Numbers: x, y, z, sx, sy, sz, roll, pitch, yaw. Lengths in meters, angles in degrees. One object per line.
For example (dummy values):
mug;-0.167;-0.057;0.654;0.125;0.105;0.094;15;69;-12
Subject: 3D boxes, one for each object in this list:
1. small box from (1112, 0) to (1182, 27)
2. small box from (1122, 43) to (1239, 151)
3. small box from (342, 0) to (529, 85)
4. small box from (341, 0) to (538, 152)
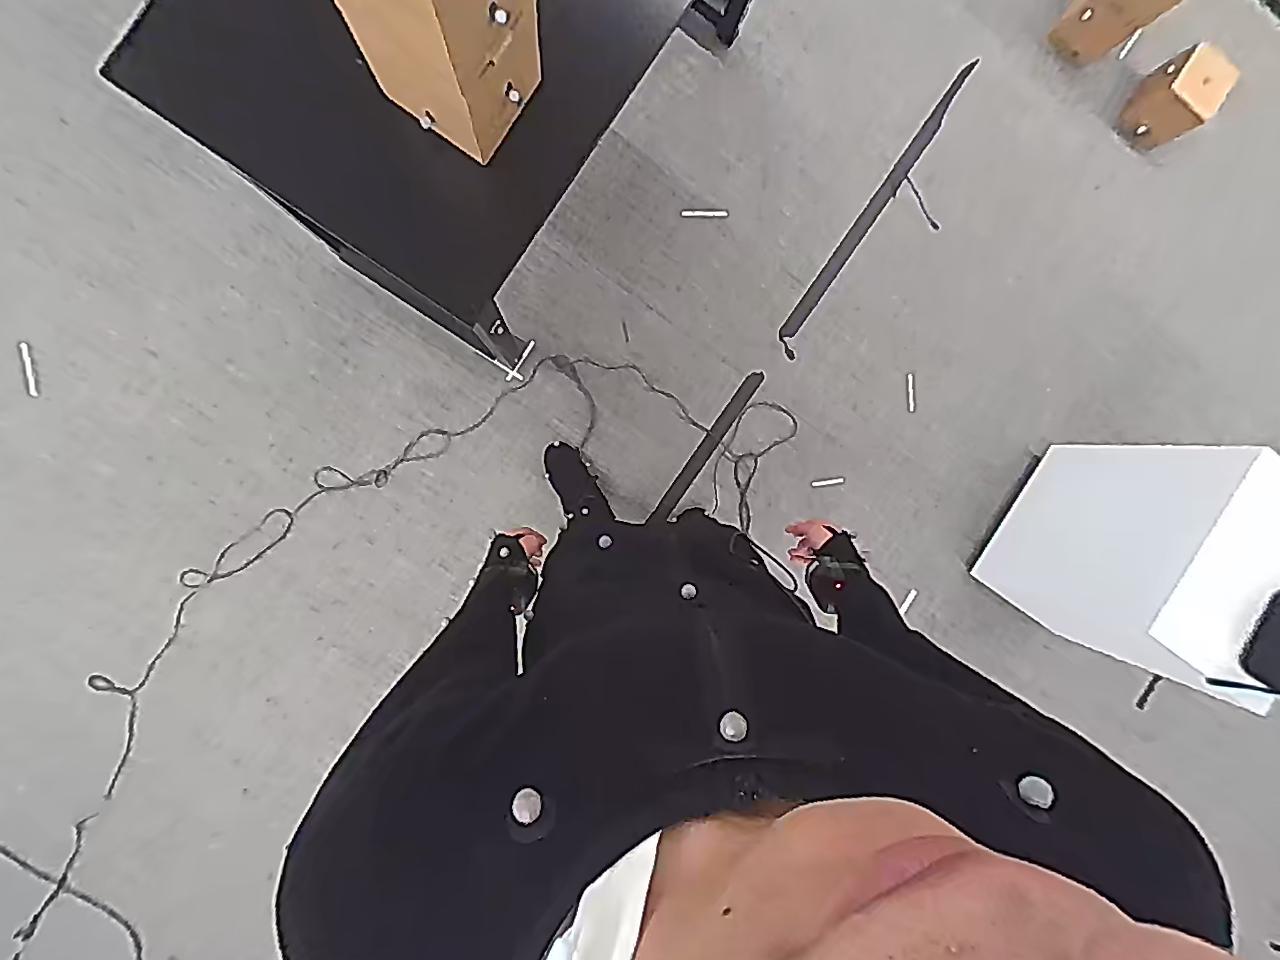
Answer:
small box;1.435;-1.402;1.471;0.179;0.176;0.168;34;89;-10
small box;1.678;-1.187;1.689;0.168;0.176;0.179;33;90;-8
small box;-0.233;-0.579;0.571;0.179;0.176;0.168;33;90;-9
small box;-0.253;-0.590;0.735;0.179;0.176;0.168;32;89;-9
